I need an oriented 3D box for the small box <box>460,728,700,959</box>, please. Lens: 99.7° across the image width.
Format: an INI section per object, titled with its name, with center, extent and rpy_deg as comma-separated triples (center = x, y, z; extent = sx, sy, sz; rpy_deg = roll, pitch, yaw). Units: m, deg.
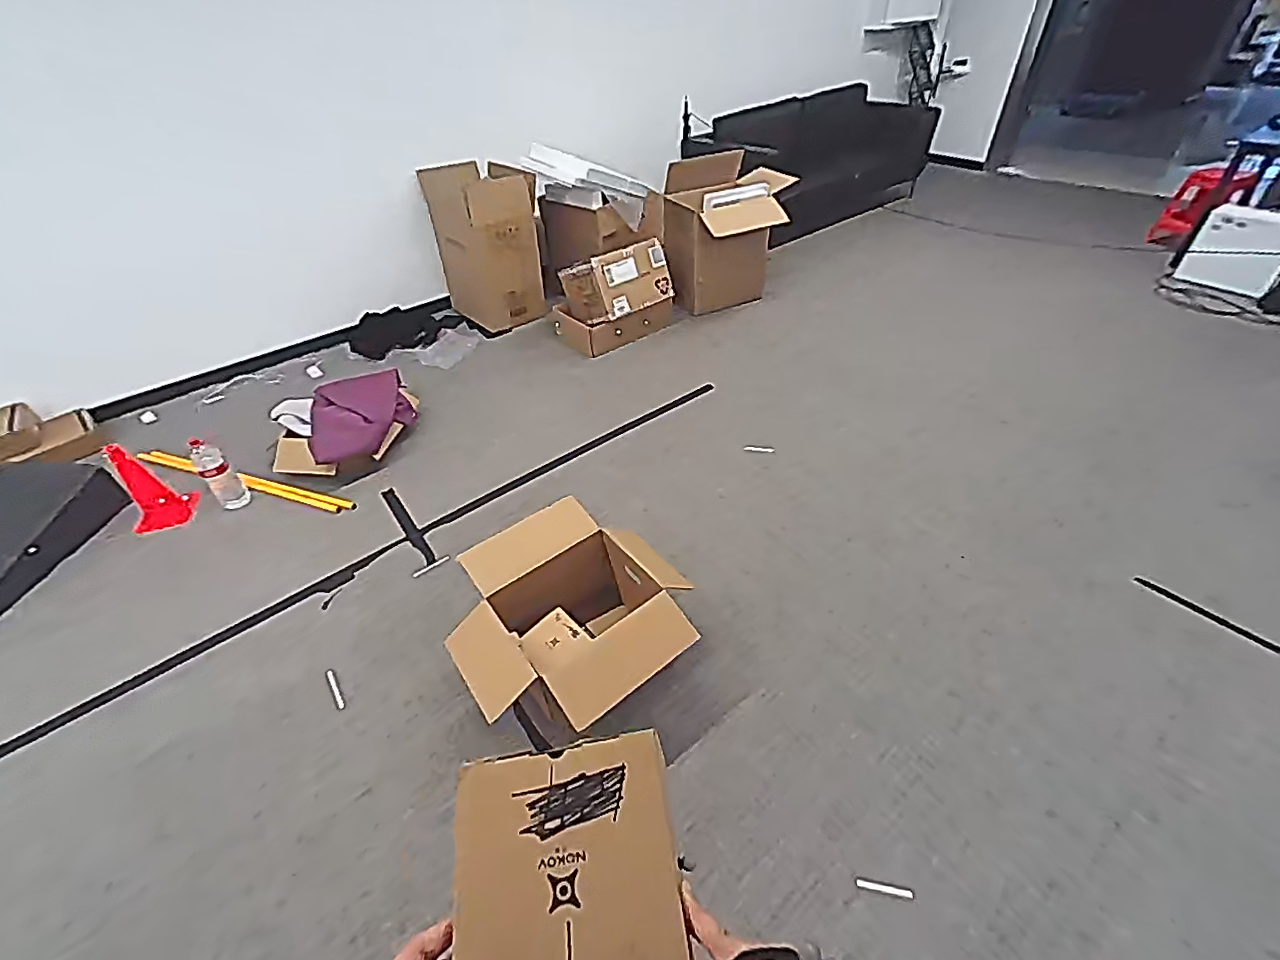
[small box]
center = -0.044, 0.334, 0.466
extent = 0.168, 0.176, 0.179
rpy_deg = -10, 57, -1
